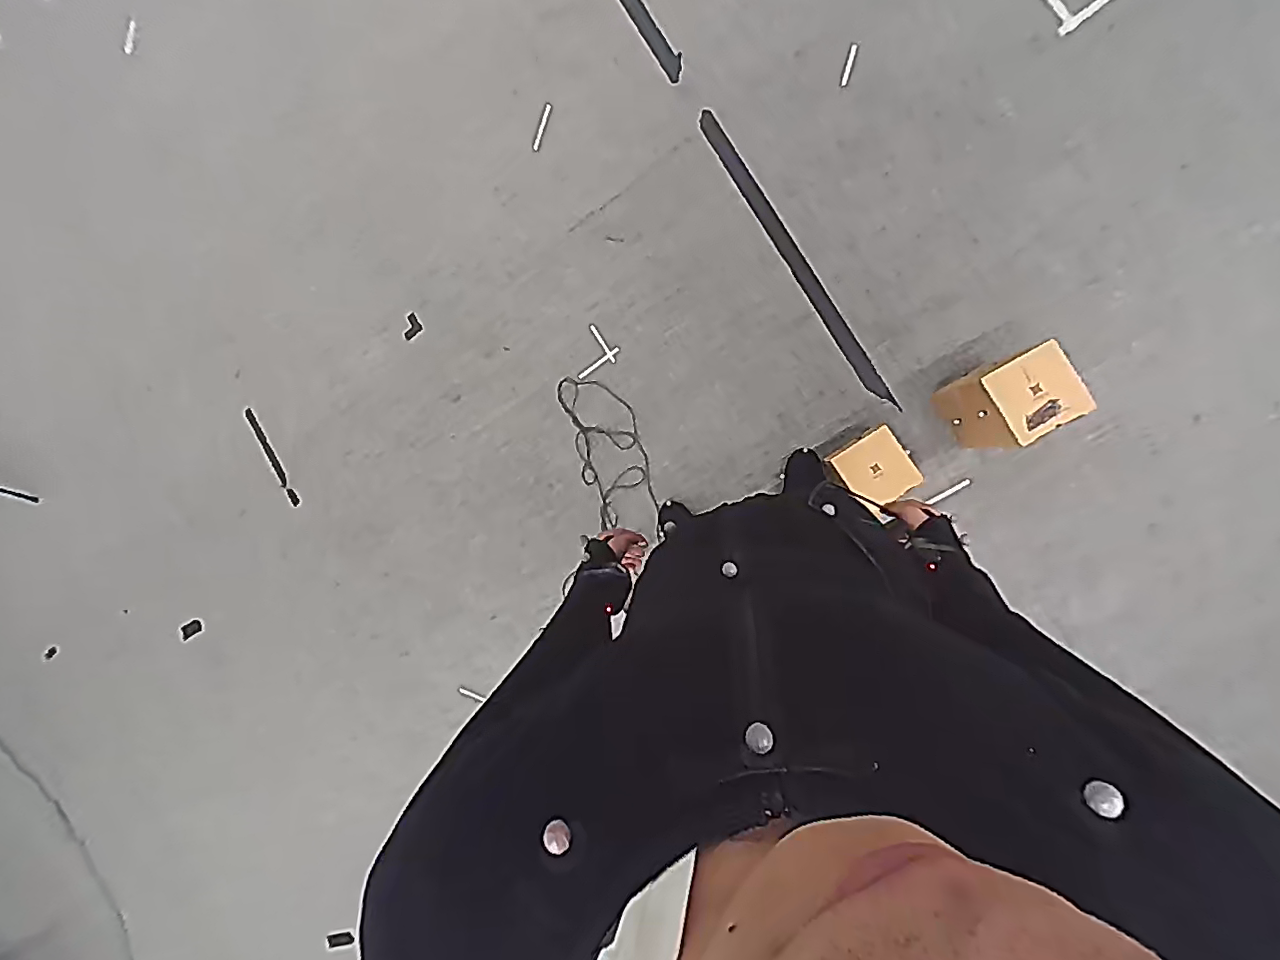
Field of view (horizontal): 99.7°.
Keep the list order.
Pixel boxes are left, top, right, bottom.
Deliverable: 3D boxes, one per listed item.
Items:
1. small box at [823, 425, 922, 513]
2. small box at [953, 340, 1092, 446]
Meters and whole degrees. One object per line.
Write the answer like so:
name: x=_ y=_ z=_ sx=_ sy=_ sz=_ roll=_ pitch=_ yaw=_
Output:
small box: x=0.619 y=-0.031 z=1.468 sx=0.168 sy=0.176 sz=0.179 roll=-35 pitch=86 yaw=12
small box: x=0.862 y=-0.191 z=1.239 sx=0.168 sy=0.176 sz=0.179 roll=-31 pitch=86 yaw=11
